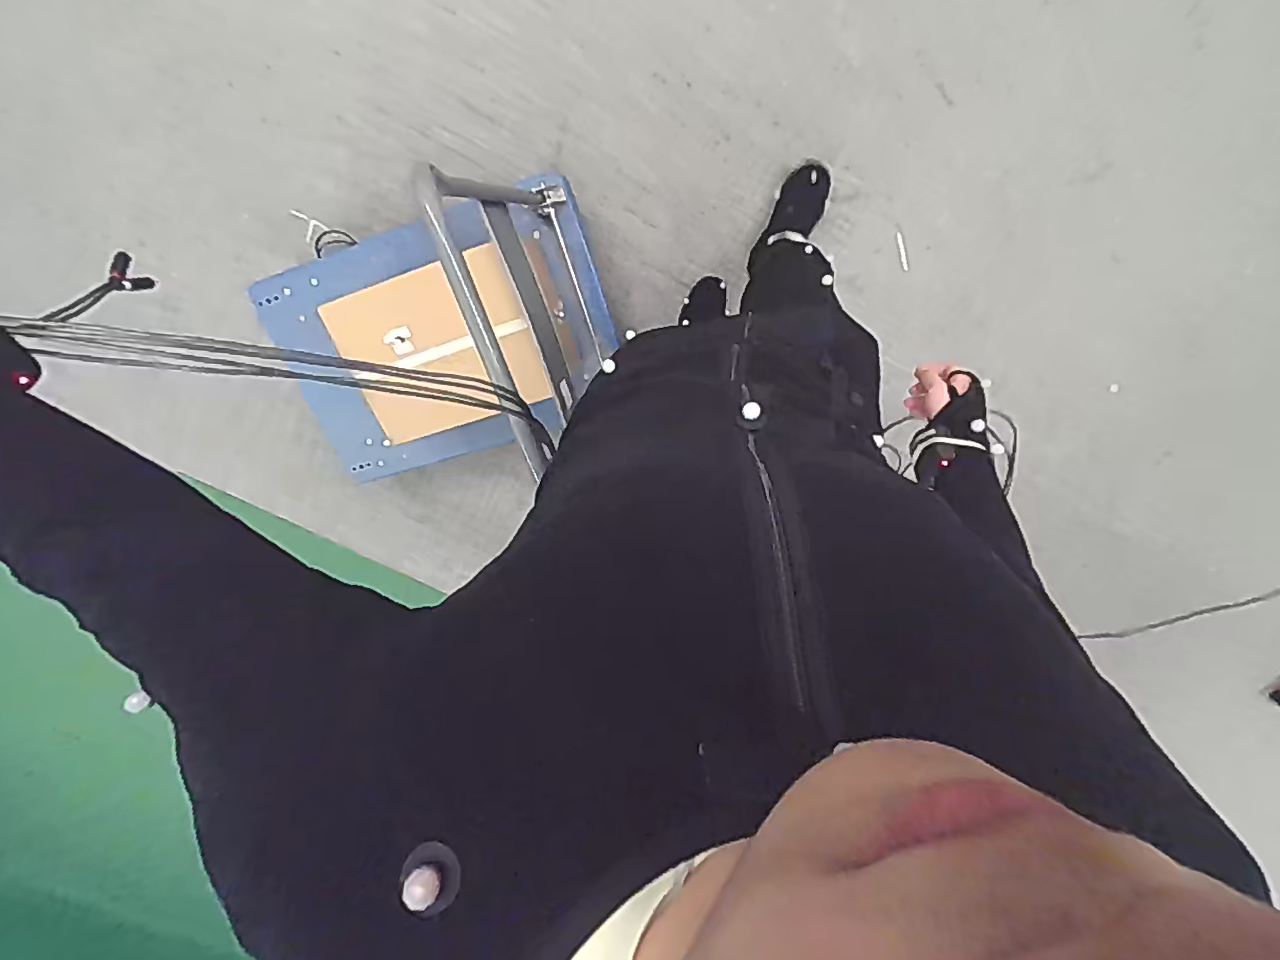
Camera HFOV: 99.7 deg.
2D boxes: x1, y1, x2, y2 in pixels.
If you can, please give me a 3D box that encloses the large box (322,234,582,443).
[{"bbox_3d":[-0.390,-0.328,1.225,0.408,0.320,0.320,-15,113,12],"label":"large box"}]
